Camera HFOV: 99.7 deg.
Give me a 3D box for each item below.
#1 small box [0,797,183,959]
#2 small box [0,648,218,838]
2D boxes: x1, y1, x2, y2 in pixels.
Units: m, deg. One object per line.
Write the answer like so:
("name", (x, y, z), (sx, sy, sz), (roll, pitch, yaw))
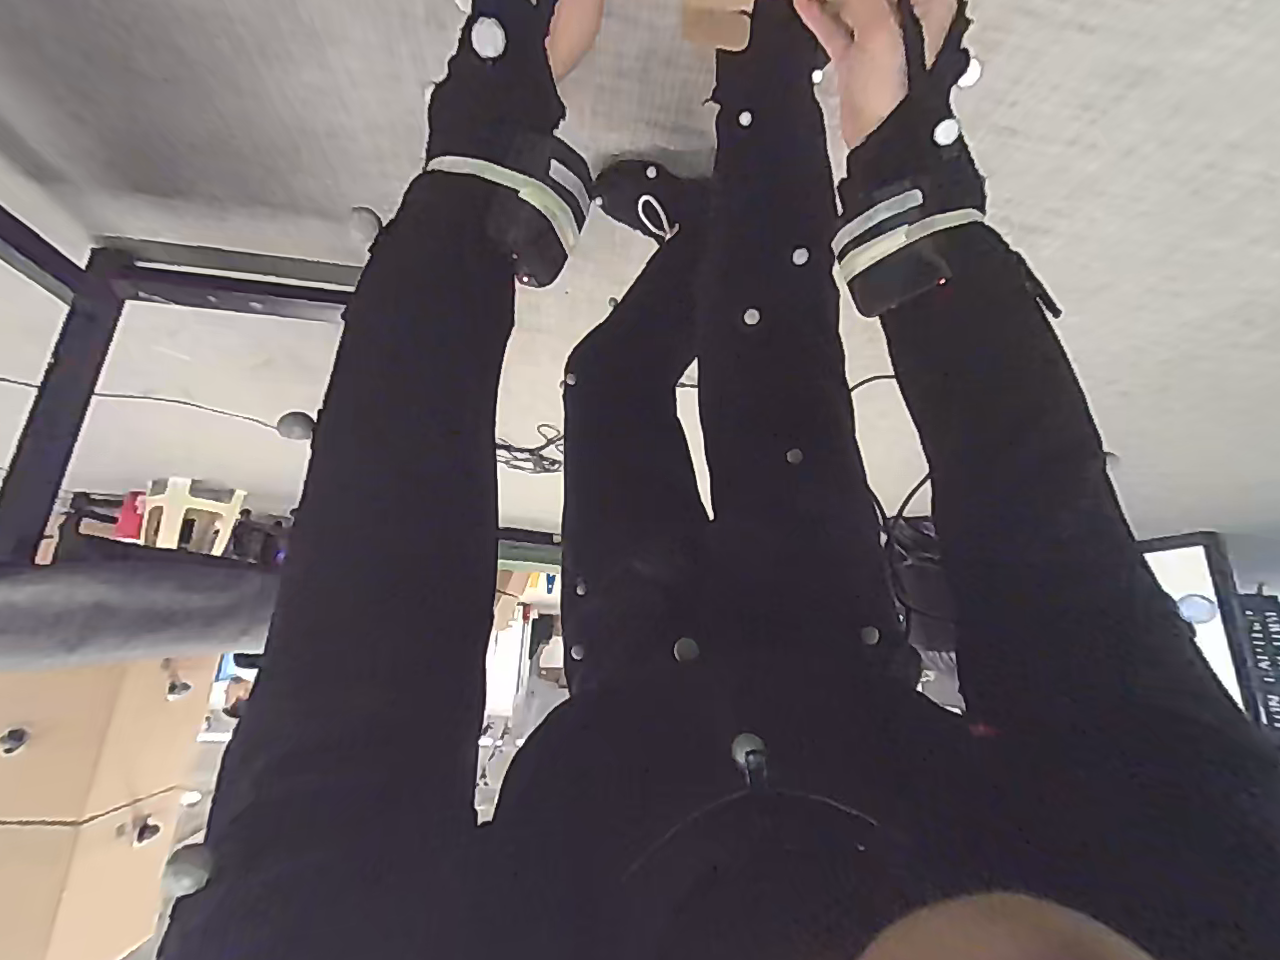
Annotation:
("small box", (-0.634, 0.434, 0.560), (0.179, 0.176, 0.168), (3, 164, -6))
("small box", (-0.629, 0.278, 0.606), (0.179, 0.176, 0.168), (3, 163, -6))
